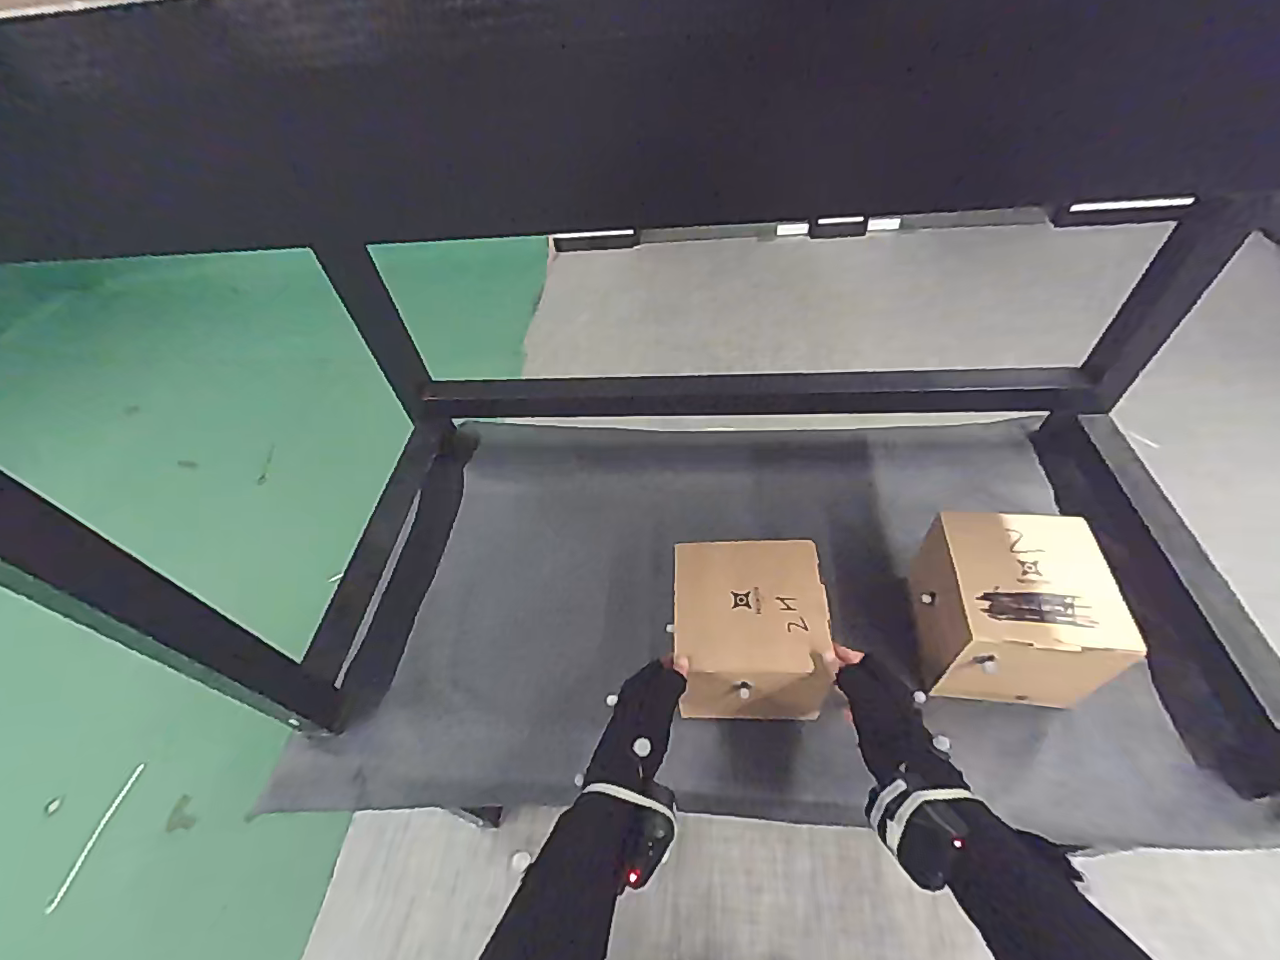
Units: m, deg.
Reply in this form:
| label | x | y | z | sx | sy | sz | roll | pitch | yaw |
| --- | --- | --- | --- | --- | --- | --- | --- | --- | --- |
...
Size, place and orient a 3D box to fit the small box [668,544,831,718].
| label | x | y | z | sx | sy | sz | roll | pitch | yaw |
| --- | --- | --- | --- | --- | --- | --- | --- | --- | --- |
| small box | 0.132 | 0.196 | 0.693 | 0.179 | 0.176 | 0.168 | -2 | 51 | 7 |
